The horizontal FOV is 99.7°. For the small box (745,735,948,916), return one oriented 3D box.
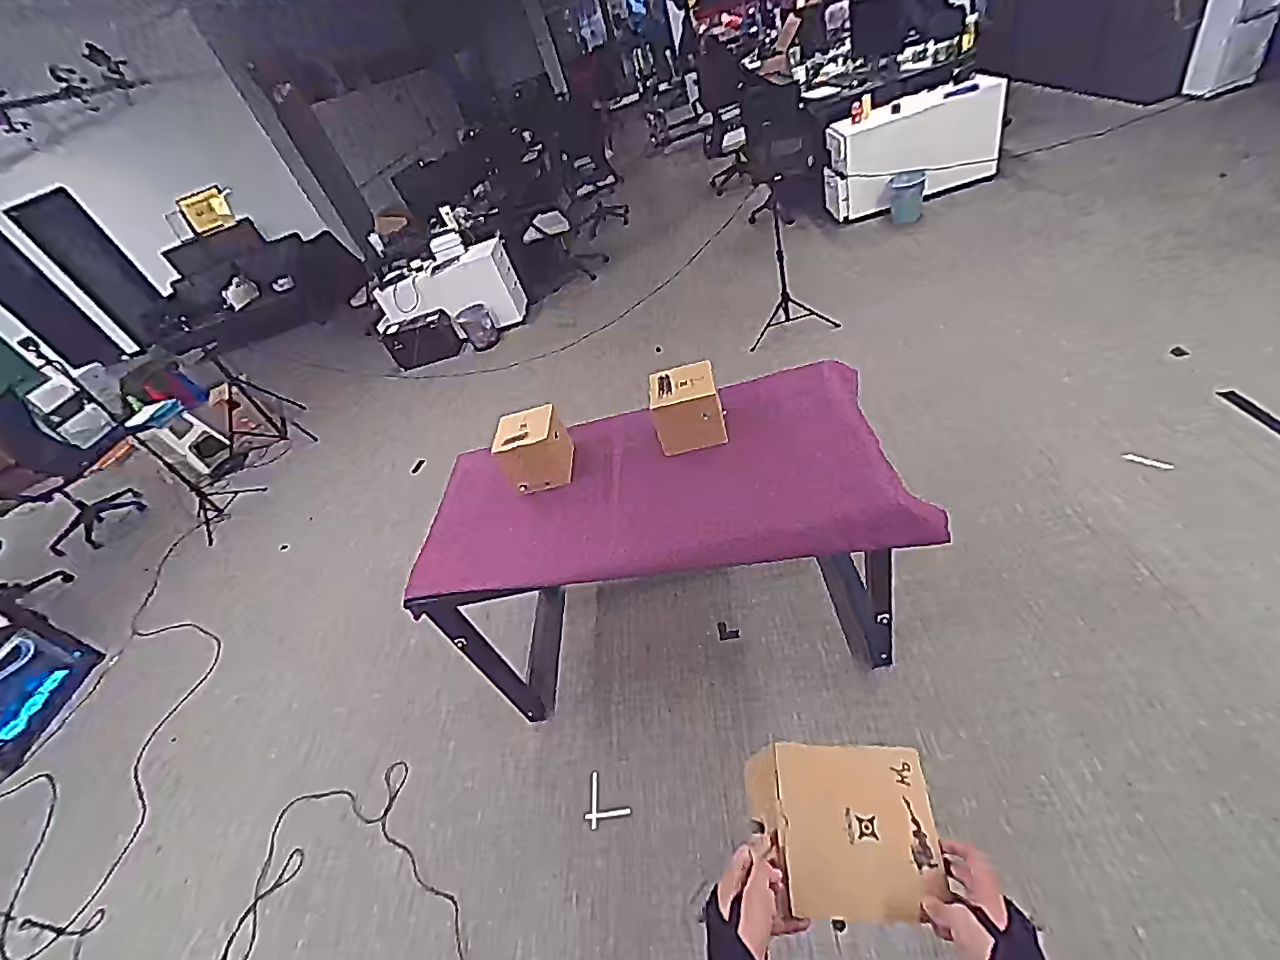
[{"bbox_3d":[0.230,0.421,0.662,0.179,0.176,0.168,3,55,-1],"label":"small box"}]

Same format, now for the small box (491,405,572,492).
[{"bbox_3d":[-0.304,-0.083,1.557,0.168,0.176,0.179,-14,40,10],"label":"small box"}]
